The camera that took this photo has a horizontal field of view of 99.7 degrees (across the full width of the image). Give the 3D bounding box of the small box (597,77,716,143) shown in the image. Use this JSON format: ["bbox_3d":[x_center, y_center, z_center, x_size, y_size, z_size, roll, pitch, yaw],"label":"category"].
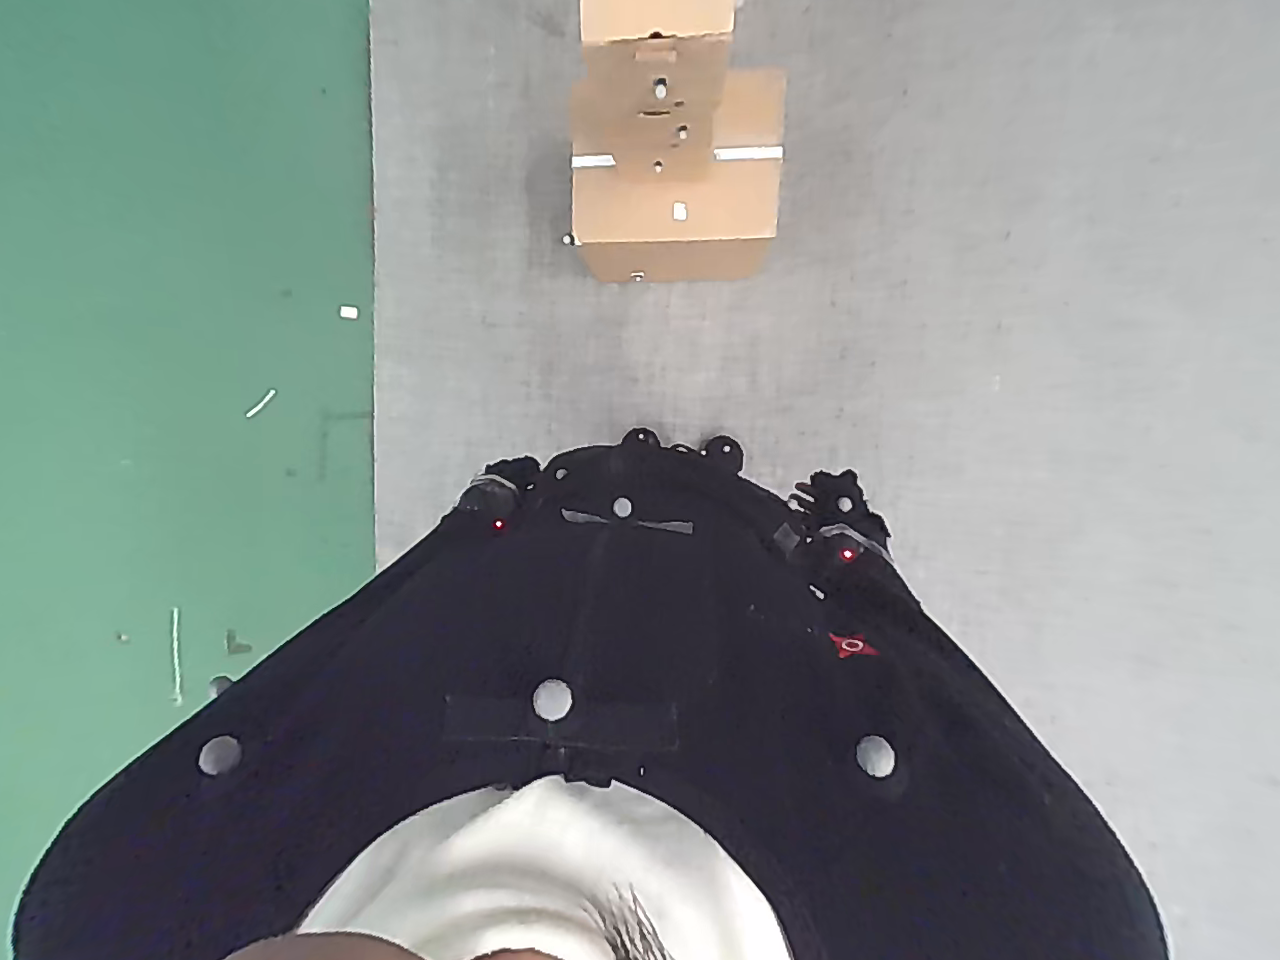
[{"bbox_3d":[0.032,-0.620,0.799,0.168,0.176,0.179,2,102,6],"label":"small box"}]

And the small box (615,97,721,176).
[{"bbox_3d":[0.052,-0.655,0.956,0.179,0.176,0.168,1,103,7],"label":"small box"}]

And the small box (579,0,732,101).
[{"bbox_3d":[0.026,-0.577,0.641,0.168,0.176,0.179,2,103,6],"label":"small box"}]
